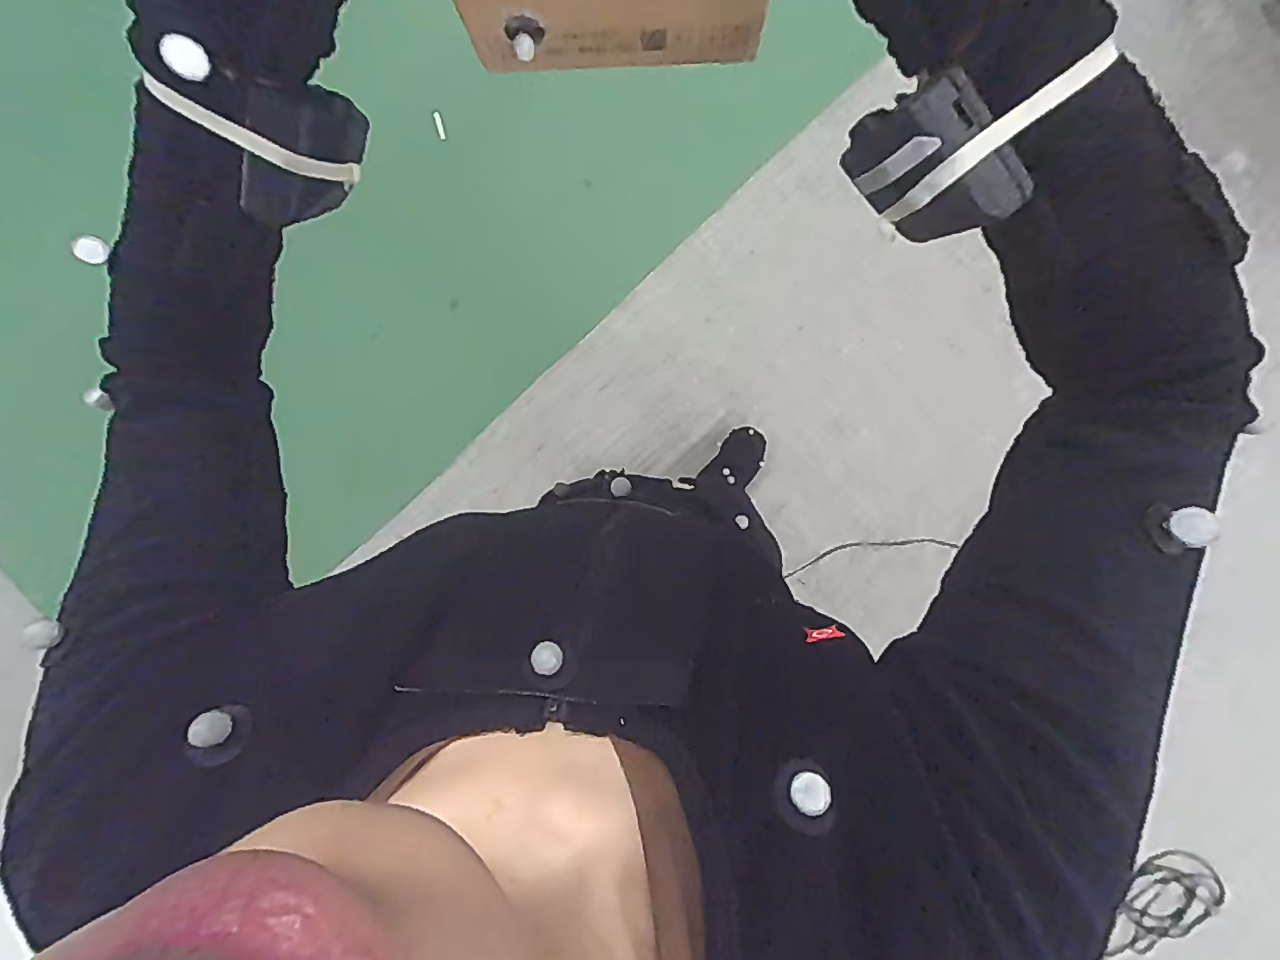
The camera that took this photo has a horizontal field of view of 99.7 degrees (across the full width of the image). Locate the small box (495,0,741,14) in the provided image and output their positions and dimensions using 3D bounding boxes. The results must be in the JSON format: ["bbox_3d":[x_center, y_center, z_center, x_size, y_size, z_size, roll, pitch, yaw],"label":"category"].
[{"bbox_3d":[-0.021,-0.351,0.236,0.168,0.176,0.179,1,90,3],"label":"small box"}]
